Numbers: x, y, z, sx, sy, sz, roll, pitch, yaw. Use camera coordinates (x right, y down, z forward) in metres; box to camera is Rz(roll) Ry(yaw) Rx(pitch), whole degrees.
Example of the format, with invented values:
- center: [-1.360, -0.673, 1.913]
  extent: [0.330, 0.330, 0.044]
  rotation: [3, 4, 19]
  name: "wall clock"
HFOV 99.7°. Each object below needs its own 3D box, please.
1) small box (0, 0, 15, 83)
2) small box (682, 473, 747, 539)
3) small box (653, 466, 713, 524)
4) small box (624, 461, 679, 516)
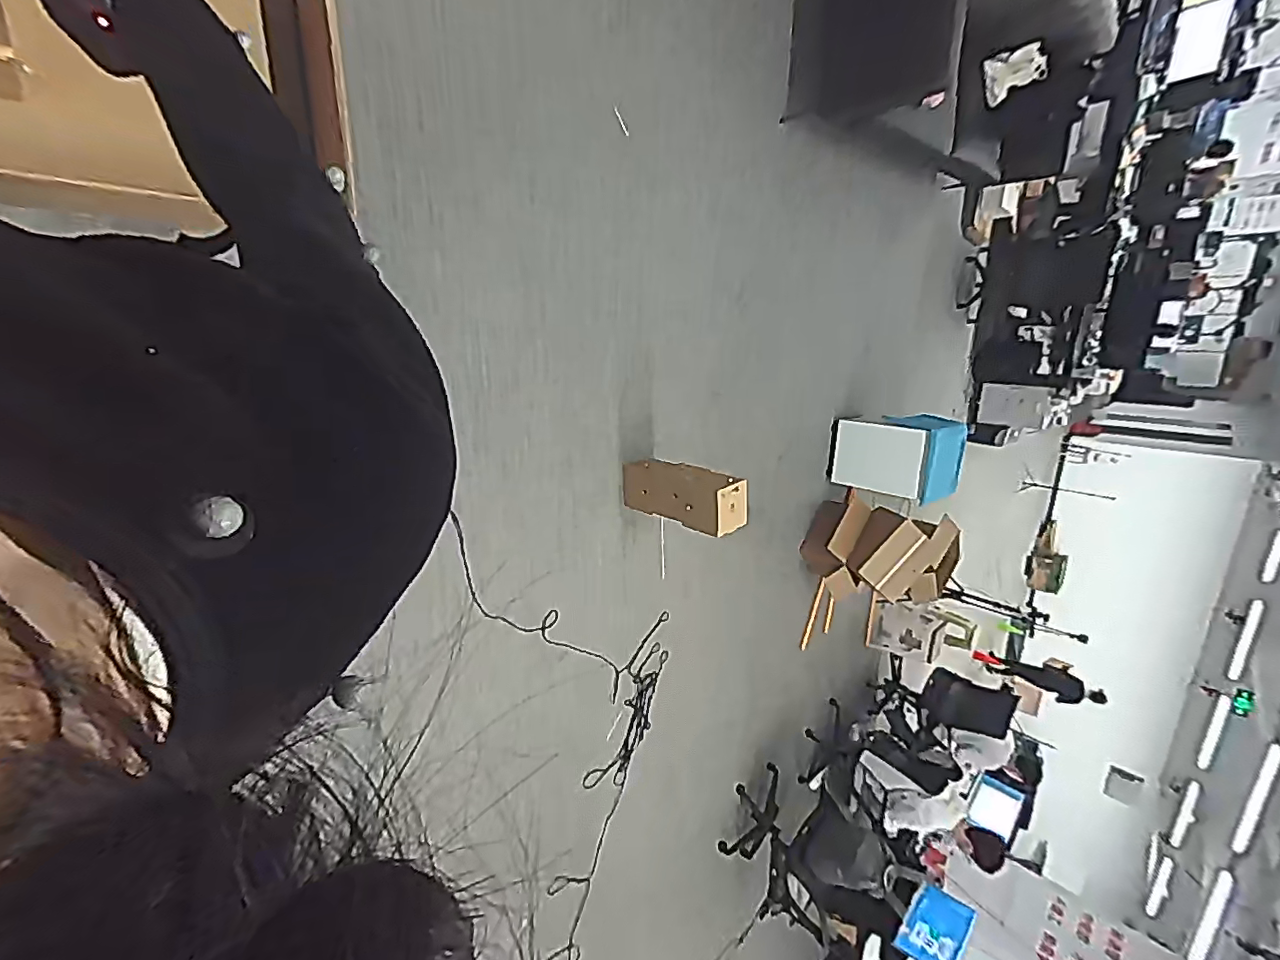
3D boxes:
- center: [-0.787, -0.541, 0.554]
  extent: [0.179, 0.176, 0.168]
  rotation: [-12, 109, -44]
  name: "small box"
- center: [0.263, 0.087, 1.934]
  extent: [0.168, 0.176, 0.179]
  rotation: [-18, 114, -41]
  name: "small box"
- center: [0.161, 0.048, 2.056]
  extent: [0.168, 0.176, 0.179]
  rotation: [-15, 112, -41]
  name: "small box"
- center: [0.047, 0.026, 2.172]
  extent: [0.168, 0.176, 0.179]
  rotation: [-16, 112, -41]
  name: "small box"
